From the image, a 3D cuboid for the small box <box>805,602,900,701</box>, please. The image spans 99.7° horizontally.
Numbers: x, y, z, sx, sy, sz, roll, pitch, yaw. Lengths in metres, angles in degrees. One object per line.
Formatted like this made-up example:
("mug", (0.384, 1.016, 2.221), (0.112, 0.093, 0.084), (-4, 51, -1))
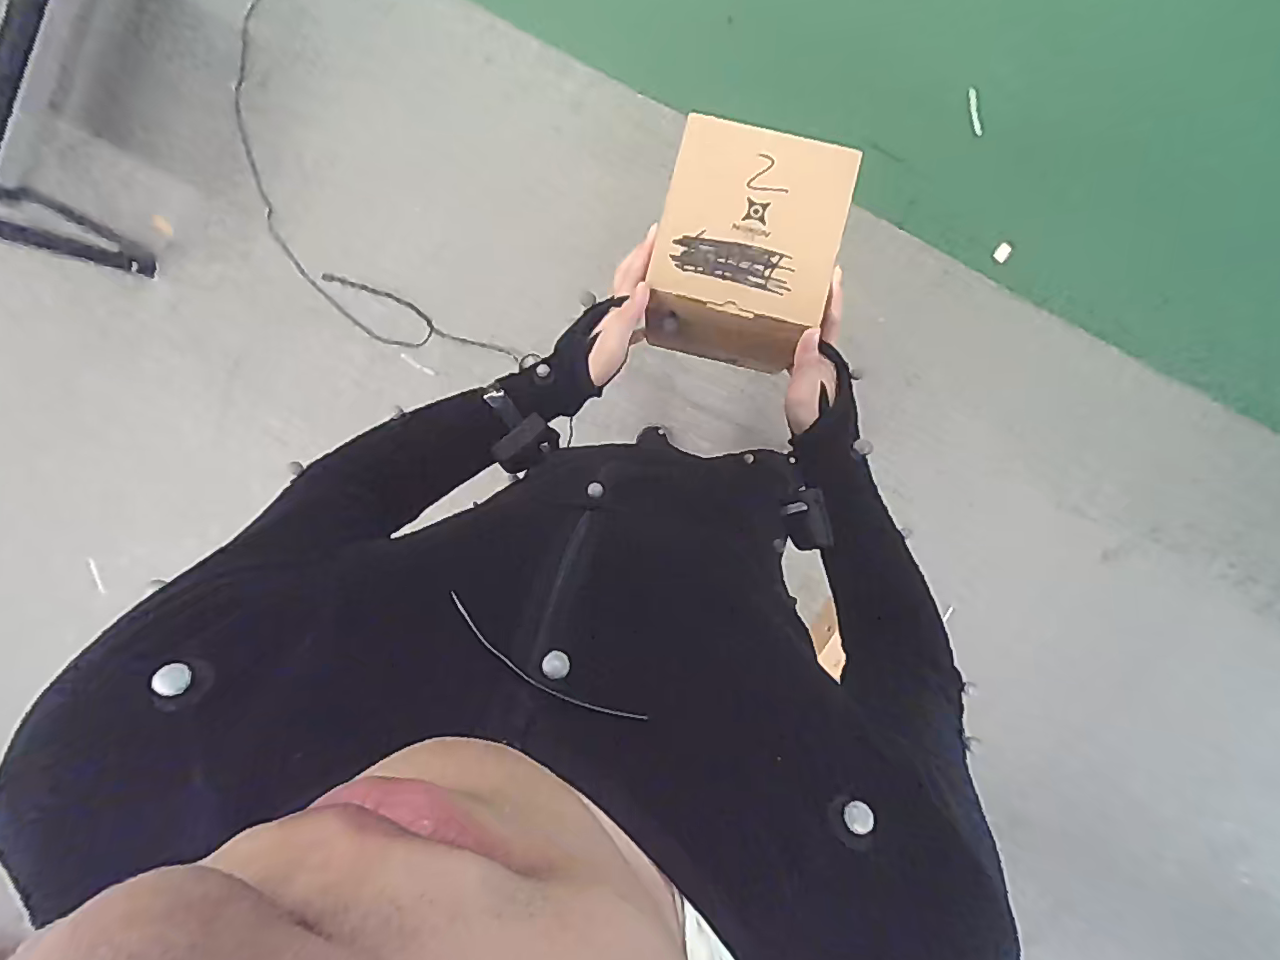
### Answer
("small box", (0.584, 0.469, 1.516), (0.168, 0.176, 0.179), (31, 98, 4))
